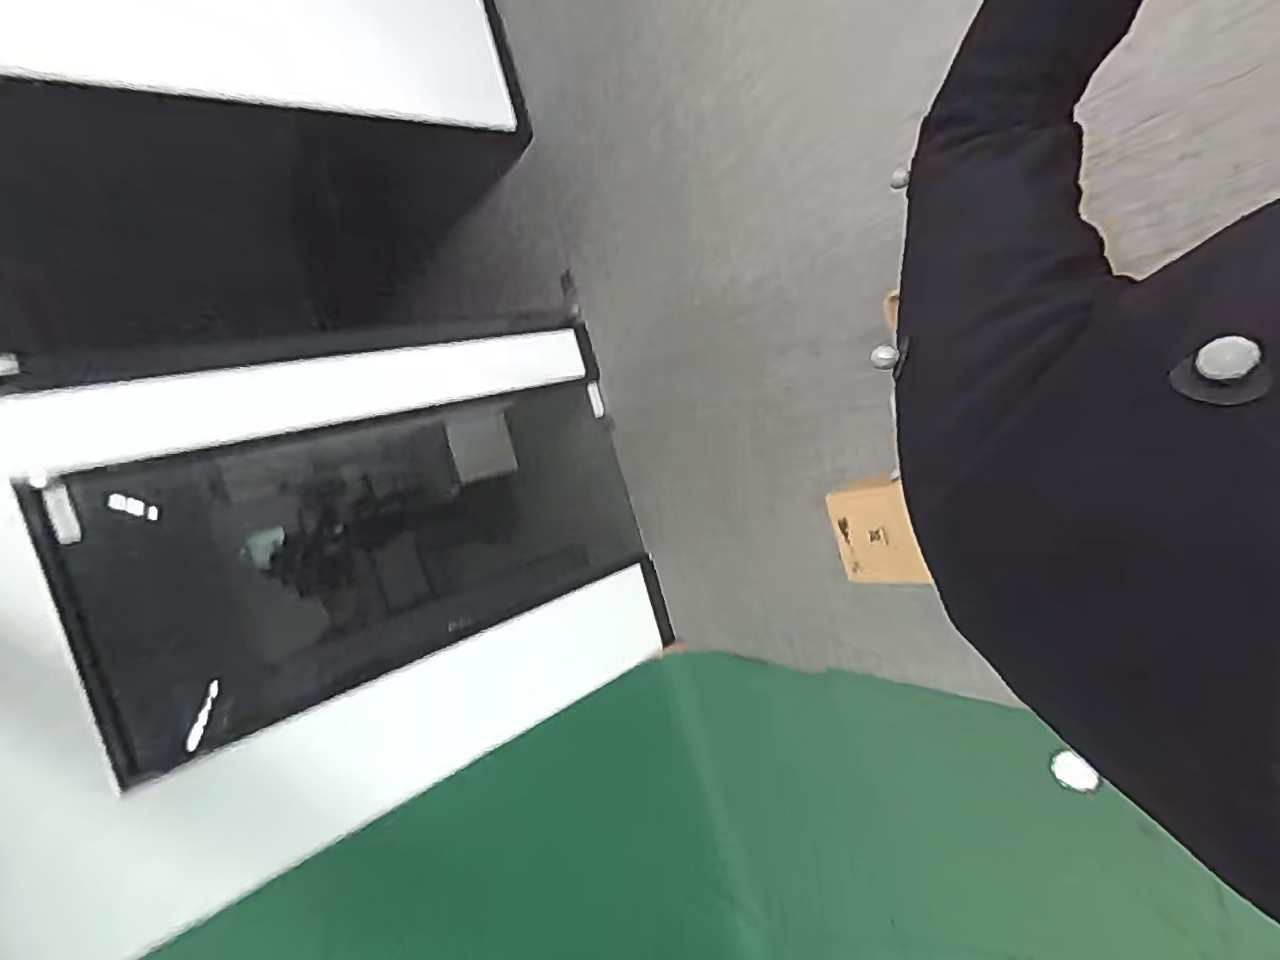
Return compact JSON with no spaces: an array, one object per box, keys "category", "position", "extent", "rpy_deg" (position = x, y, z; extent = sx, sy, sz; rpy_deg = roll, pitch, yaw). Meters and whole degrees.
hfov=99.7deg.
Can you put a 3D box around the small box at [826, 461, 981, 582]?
[{"category":"small box","position":[0.466,0.072,0.947],"extent":[0.179,0.176,0.168],"rpy_deg":[-15,91,55]}]
